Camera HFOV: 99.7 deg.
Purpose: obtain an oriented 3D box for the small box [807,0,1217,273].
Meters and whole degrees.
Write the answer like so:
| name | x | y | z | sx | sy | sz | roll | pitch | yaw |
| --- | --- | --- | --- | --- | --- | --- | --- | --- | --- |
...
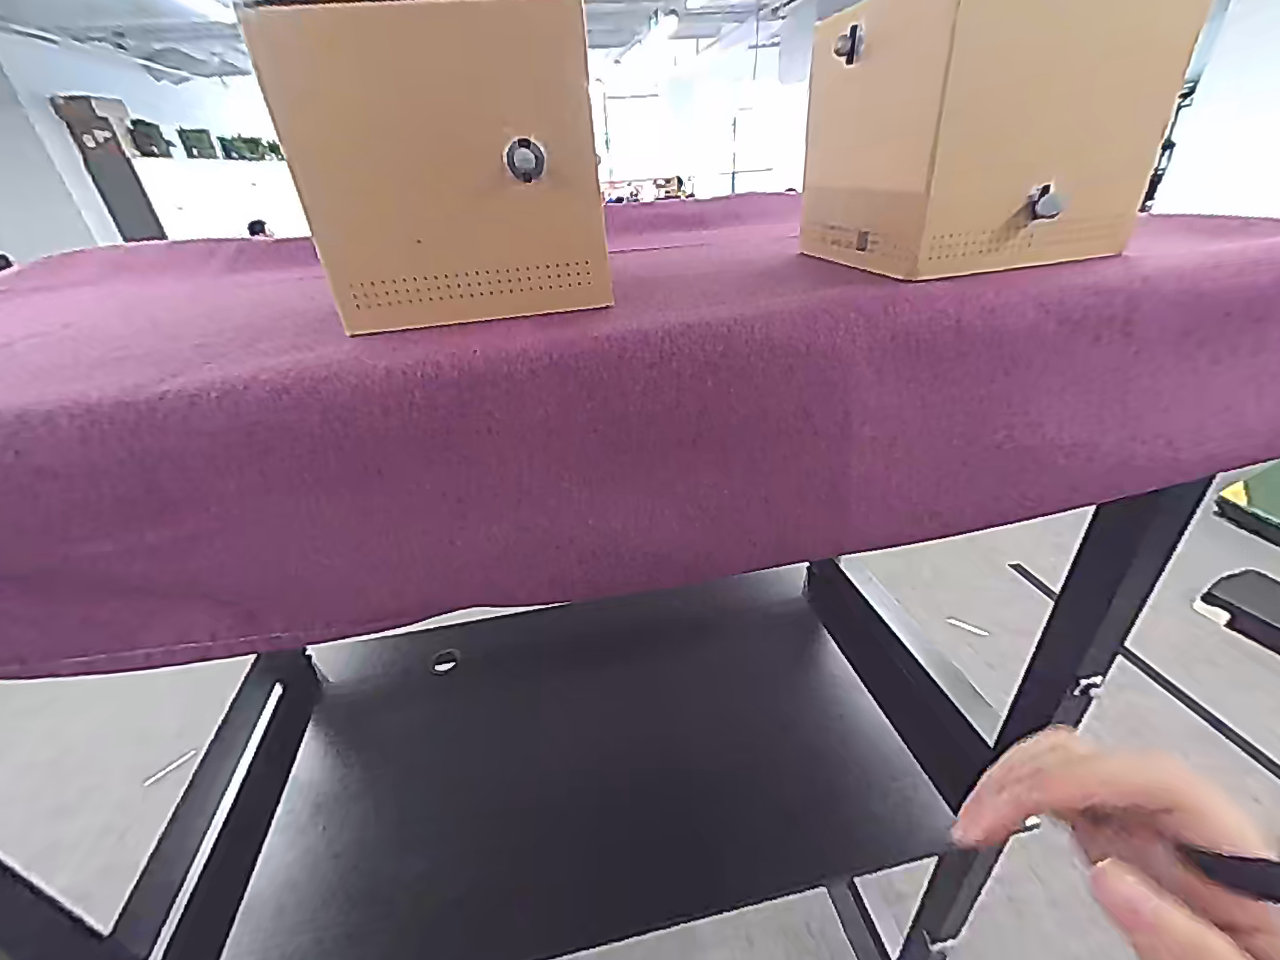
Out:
| name | x | y | z | sx | sy | sz | roll | pitch | yaw |
| --- | --- | --- | --- | --- | --- | --- | --- | --- | --- |
| small box | 0.244 | -0.260 | 0.403 | 0.179 | 0.176 | 0.168 | -10 | 30 | -9 |

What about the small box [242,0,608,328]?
| name | x | y | z | sx | sy | sz | roll | pitch | yaw |
| --- | --- | --- | --- | --- | --- | --- | --- | --- | --- |
| small box | -0.119 | -0.216 | 0.382 | 0.179 | 0.176 | 0.168 | -9 | 30 | -6 |
